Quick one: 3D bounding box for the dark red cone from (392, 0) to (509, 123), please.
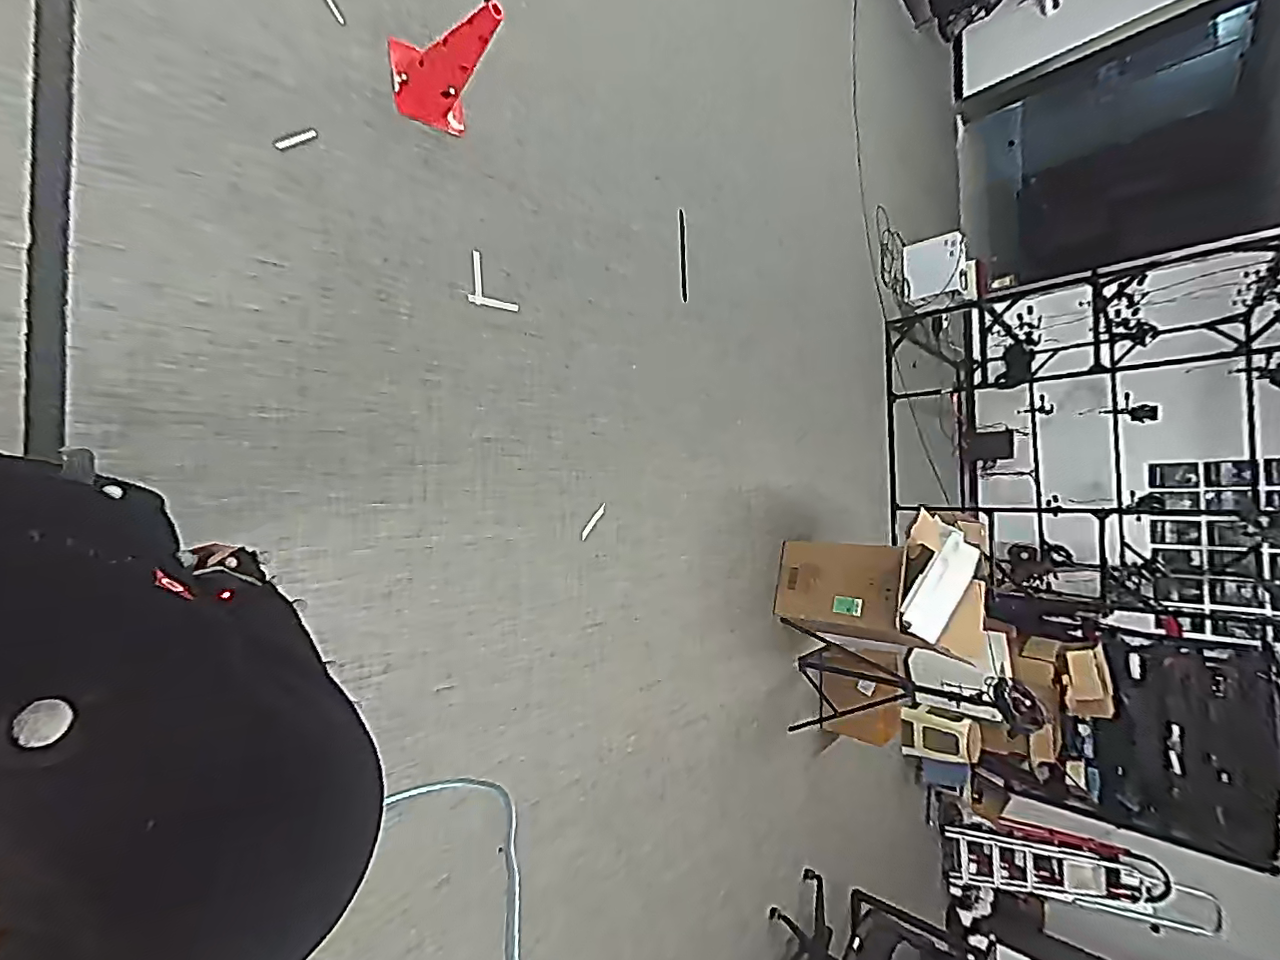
[{"bbox_3d":[-0.448,-1.100,1.354,0.201,0.394,0.202,-10,96,-45],"label":"dark red cone"}]
